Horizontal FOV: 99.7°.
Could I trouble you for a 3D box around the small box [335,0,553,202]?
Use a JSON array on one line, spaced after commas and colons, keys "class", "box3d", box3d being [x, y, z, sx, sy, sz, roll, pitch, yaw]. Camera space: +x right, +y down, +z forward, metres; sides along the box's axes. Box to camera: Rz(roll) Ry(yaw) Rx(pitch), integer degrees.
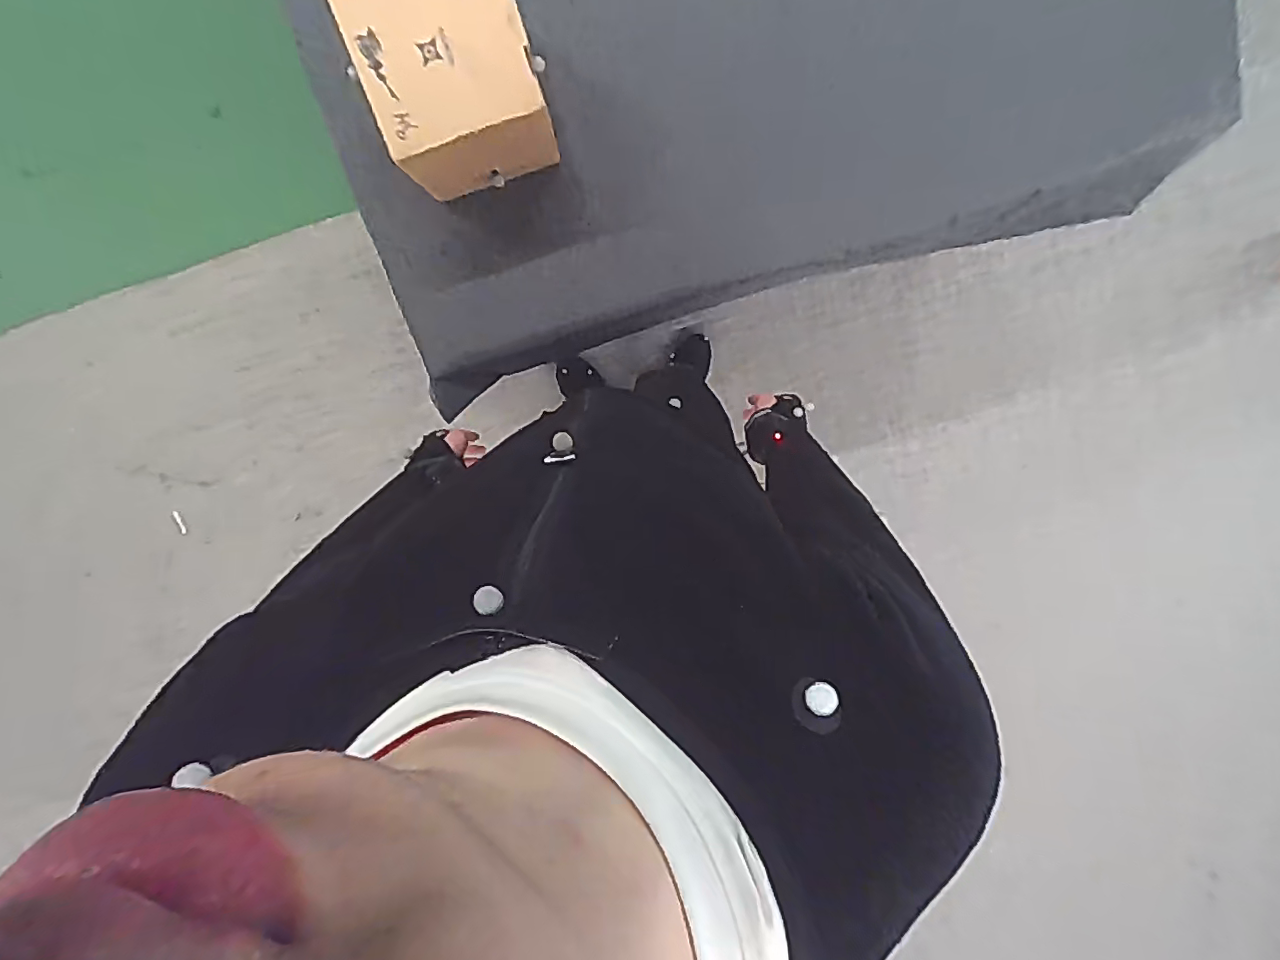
[{"class": "small box", "box3d": [-0.209, -0.458, 0.640, 0.179, 0.176, 0.168, -19, 104, 1]}]
